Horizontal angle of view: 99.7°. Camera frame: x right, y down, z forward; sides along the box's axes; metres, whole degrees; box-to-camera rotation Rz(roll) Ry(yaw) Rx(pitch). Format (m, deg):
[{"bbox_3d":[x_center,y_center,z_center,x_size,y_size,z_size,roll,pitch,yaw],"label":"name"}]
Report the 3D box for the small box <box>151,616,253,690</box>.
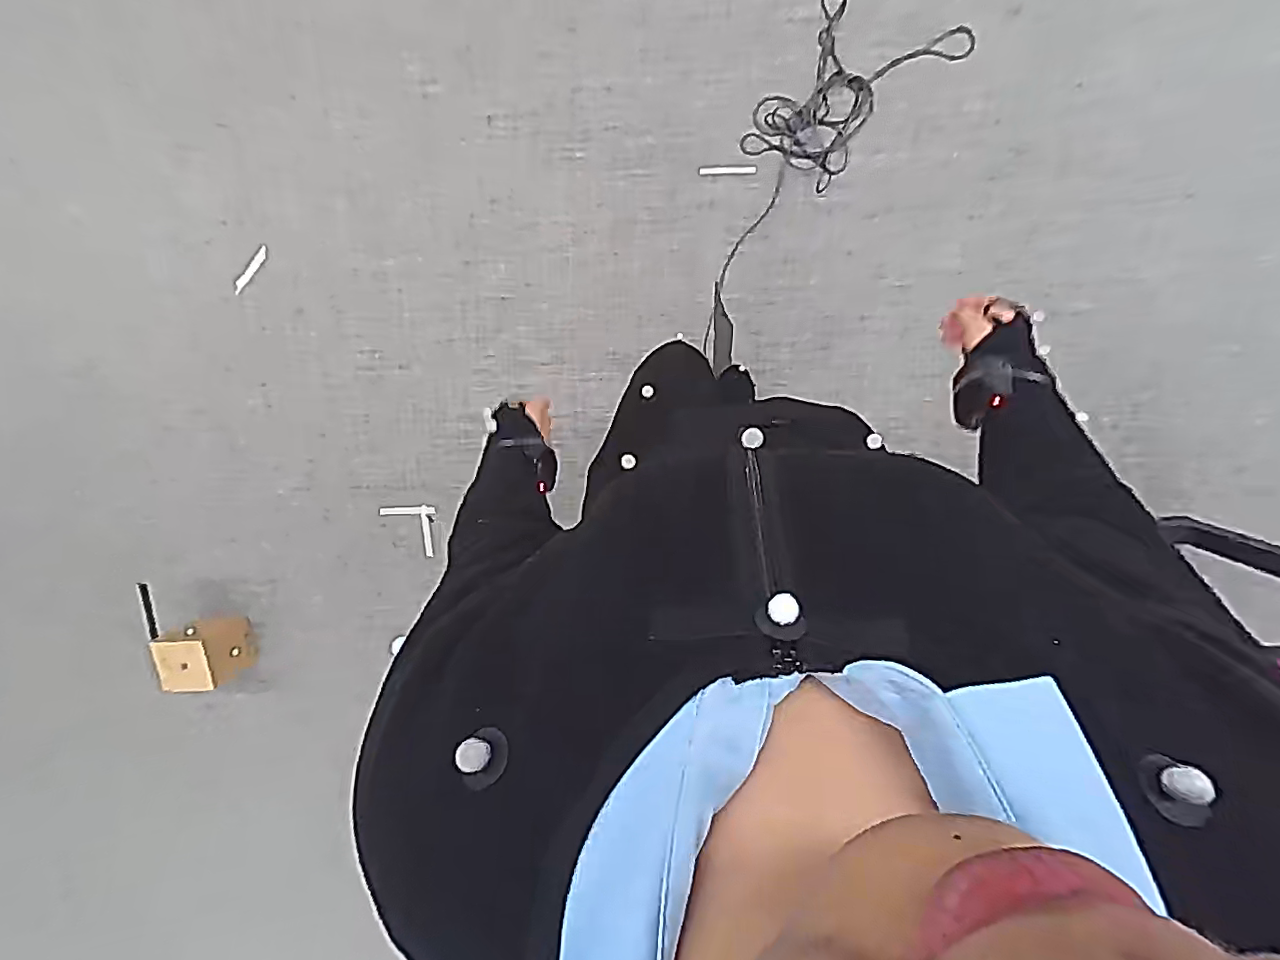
[{"bbox_3d":[-1.352,0.534,1.687,0.179,0.176,0.168,-3,101,7],"label":"small box"}]
